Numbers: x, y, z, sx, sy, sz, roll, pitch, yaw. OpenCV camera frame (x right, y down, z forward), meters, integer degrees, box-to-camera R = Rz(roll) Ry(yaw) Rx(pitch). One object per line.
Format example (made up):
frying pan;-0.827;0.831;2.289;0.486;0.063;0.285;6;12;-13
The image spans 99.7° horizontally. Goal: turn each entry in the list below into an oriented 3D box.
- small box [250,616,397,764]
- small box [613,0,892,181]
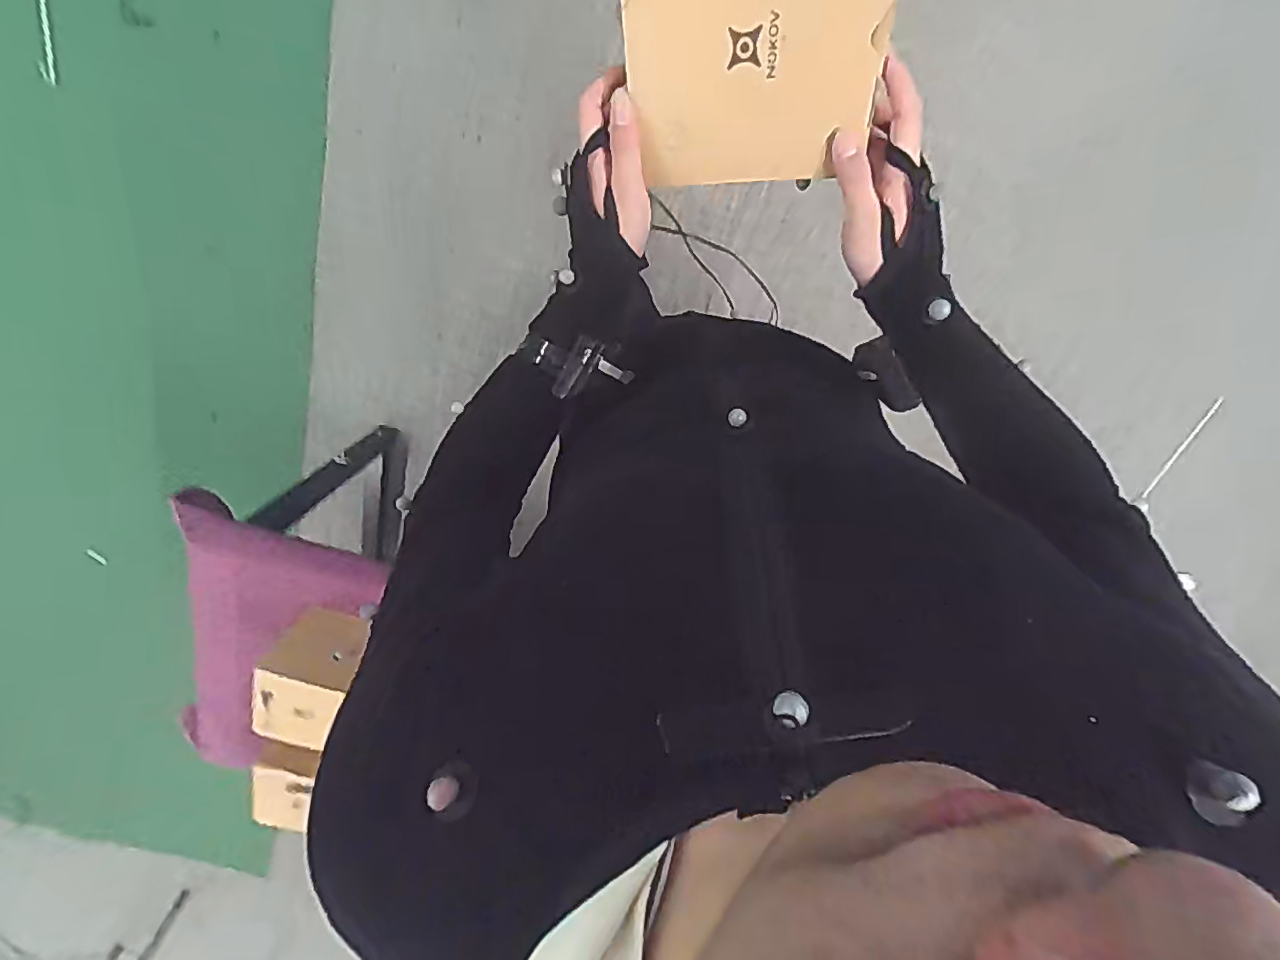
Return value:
small box;-0.571;0.377;0.992;0.179;0.176;0.168;18;115;-6
small box;0.081;-0.341;0.412;0.179;0.176;0.168;1;132;8
